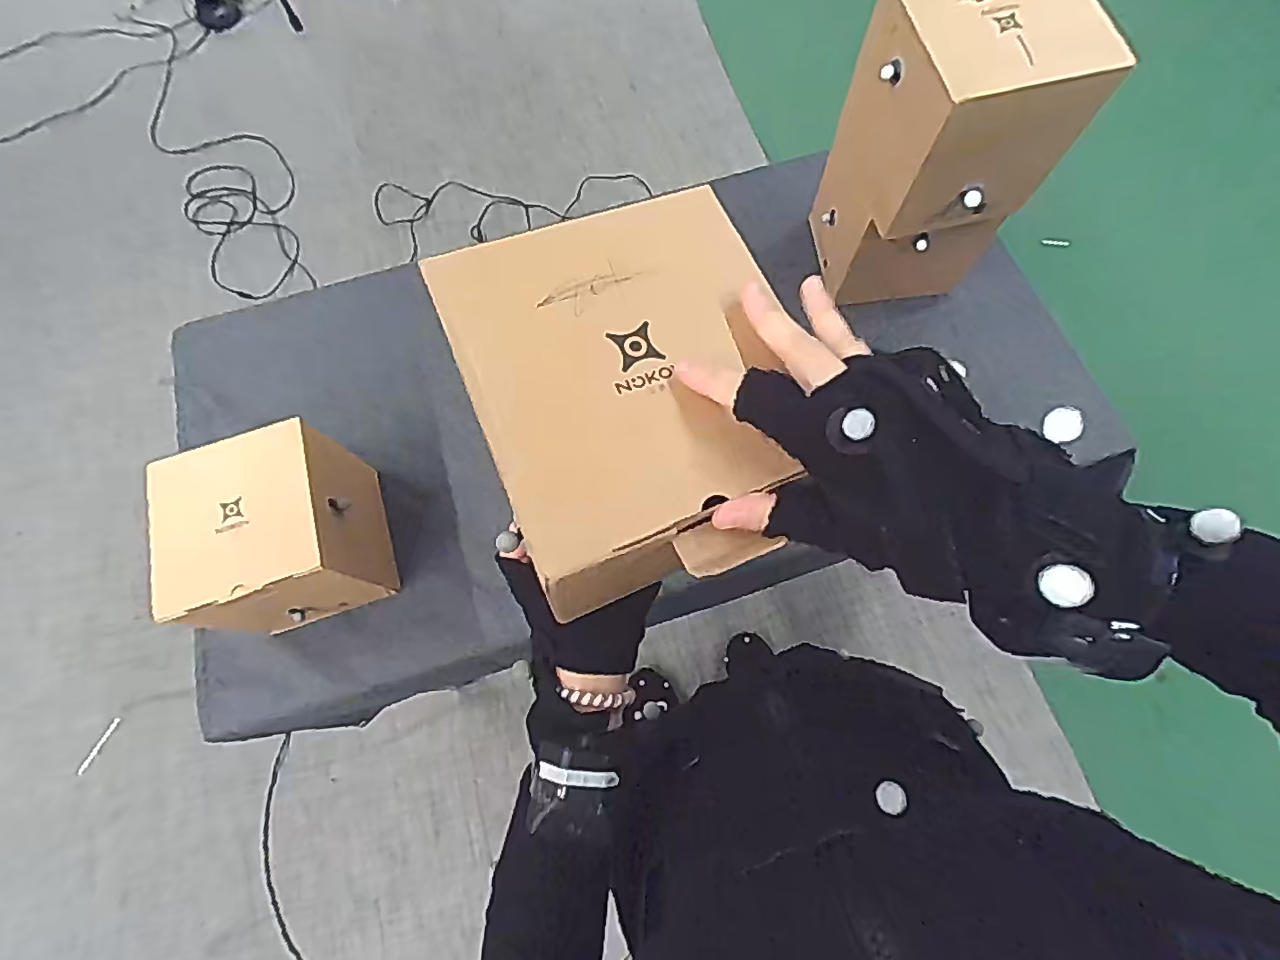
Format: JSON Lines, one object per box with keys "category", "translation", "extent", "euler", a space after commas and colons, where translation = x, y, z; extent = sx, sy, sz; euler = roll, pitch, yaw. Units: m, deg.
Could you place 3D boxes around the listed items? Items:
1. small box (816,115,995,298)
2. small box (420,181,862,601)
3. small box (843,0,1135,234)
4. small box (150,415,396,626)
{"category": "small box", "translation": [0.348, -0.365, 0.728], "extent": [0.179, 0.176, 0.168], "euler": [-5, 72, 1]}
{"category": "small box", "translation": [-0.008, -0.036, 0.334], "extent": [0.168, 0.176, 0.179], "euler": [-21, 74, -13]}
{"category": "small box", "translation": [0.336, -0.397, 0.566], "extent": [0.168, 0.176, 0.179], "euler": [-12, 72, 0]}
{"category": "small box", "translation": [-0.409, 0.056, 0.624], "extent": [0.168, 0.176, 0.179], "euler": [-19, 72, -4]}
